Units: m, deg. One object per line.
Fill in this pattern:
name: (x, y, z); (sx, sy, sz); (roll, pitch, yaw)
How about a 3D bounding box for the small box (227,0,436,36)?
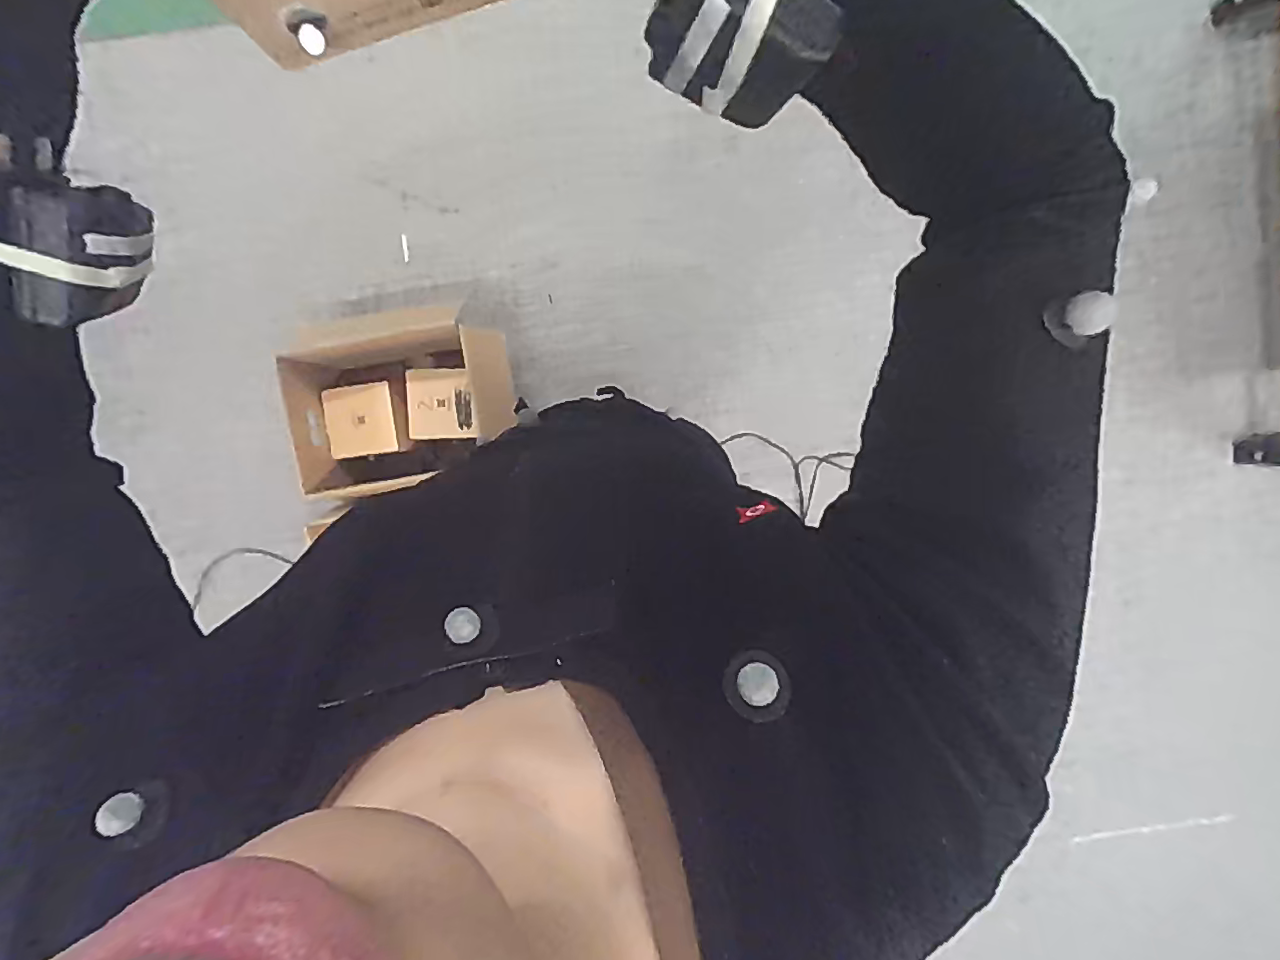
small box: (-0.167, -0.346, 0.236); (0.168, 0.176, 0.179); (-17, 97, 2)
